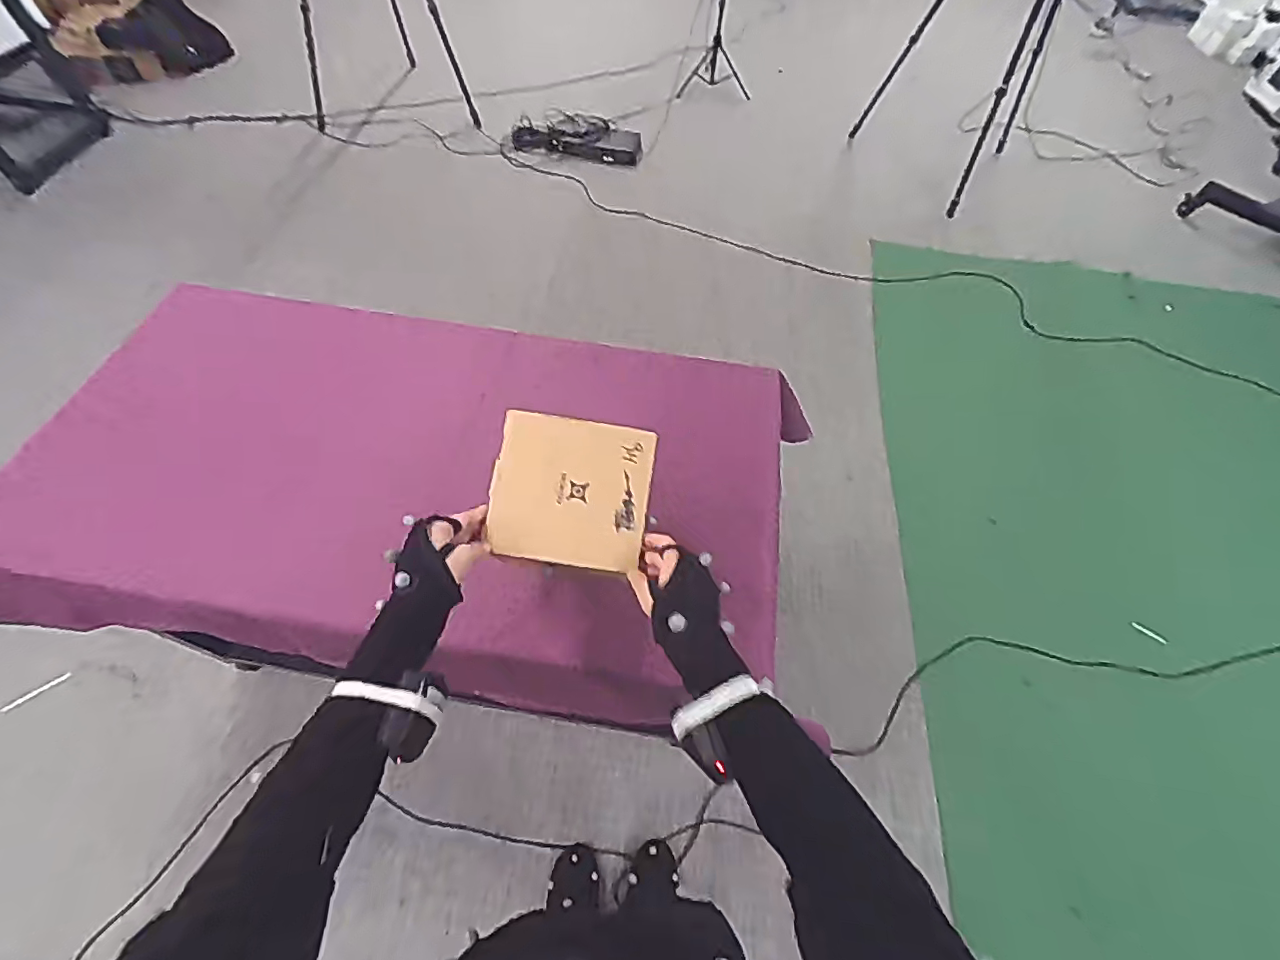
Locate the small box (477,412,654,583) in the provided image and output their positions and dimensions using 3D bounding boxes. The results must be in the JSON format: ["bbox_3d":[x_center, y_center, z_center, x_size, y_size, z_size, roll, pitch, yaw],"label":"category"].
[{"bbox_3d":[-0.085,0.032,0.688,0.179,0.176,0.168,10,74,-1],"label":"small box"}]
